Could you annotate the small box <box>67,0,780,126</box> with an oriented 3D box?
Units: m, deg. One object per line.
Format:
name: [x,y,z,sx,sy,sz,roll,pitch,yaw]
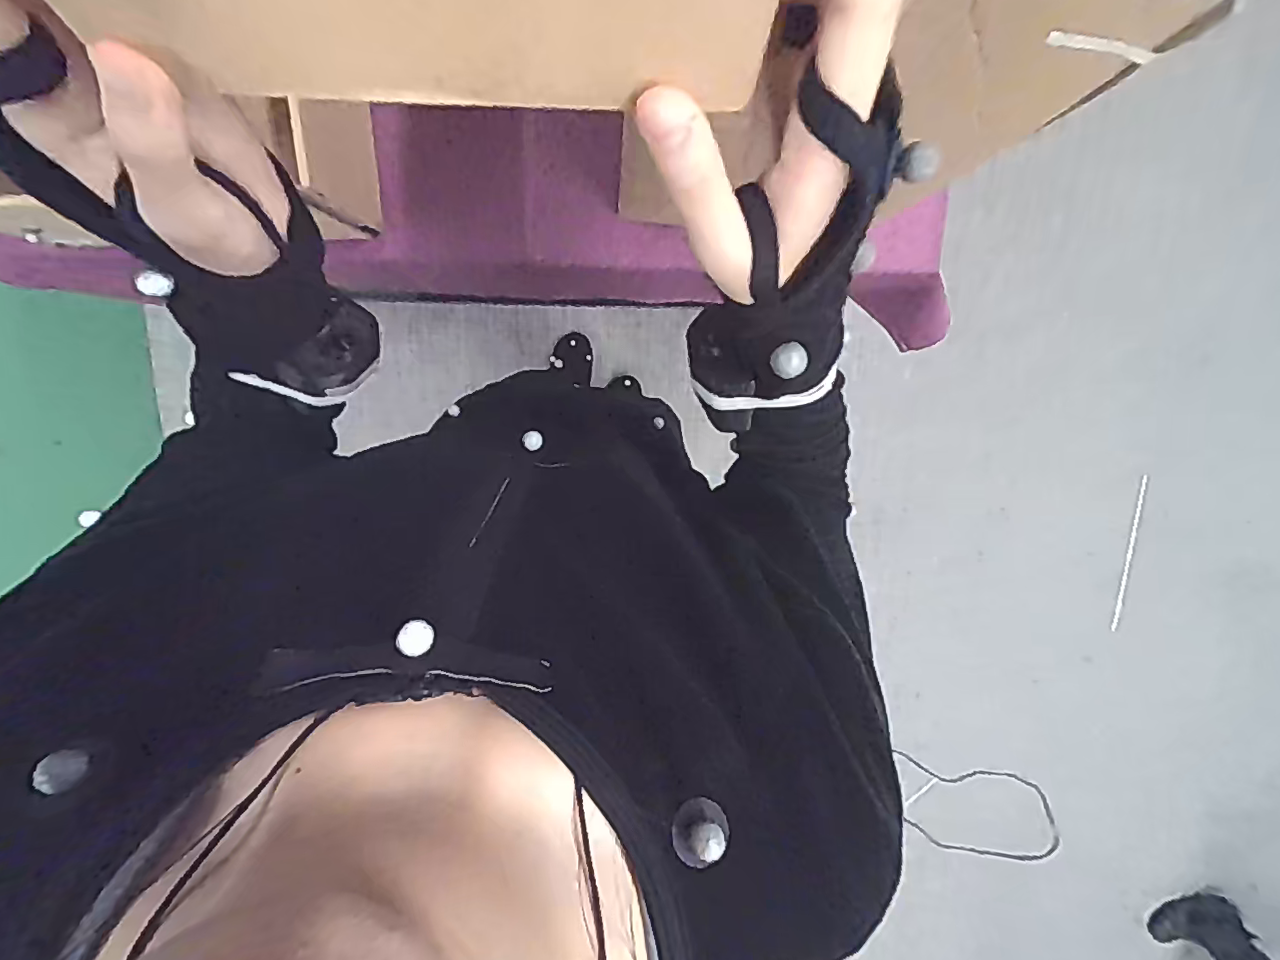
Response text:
small box: [-0.047,-0.208,0.098,0.179,0.168,0.176,1,76,-4]
